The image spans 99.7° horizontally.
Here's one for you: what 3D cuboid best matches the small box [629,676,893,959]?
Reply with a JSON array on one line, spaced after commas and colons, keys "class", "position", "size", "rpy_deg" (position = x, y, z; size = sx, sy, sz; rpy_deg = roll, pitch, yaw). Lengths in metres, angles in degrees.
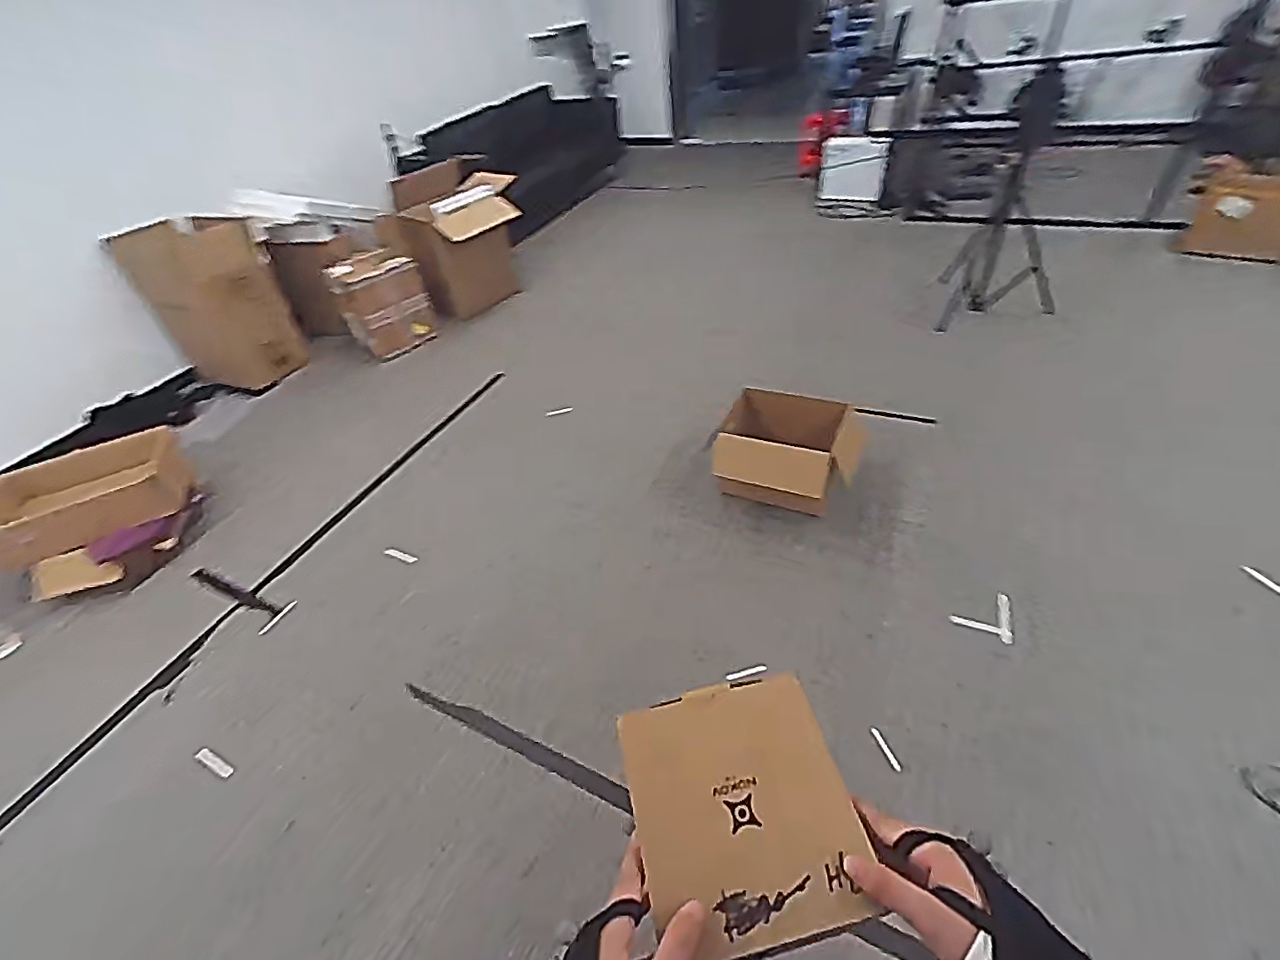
[{"class": "small box", "position": [0.088, 0.307, 0.486], "size": [0.168, 0.176, 0.179], "rpy_deg": [-11, 47, -4]}]
